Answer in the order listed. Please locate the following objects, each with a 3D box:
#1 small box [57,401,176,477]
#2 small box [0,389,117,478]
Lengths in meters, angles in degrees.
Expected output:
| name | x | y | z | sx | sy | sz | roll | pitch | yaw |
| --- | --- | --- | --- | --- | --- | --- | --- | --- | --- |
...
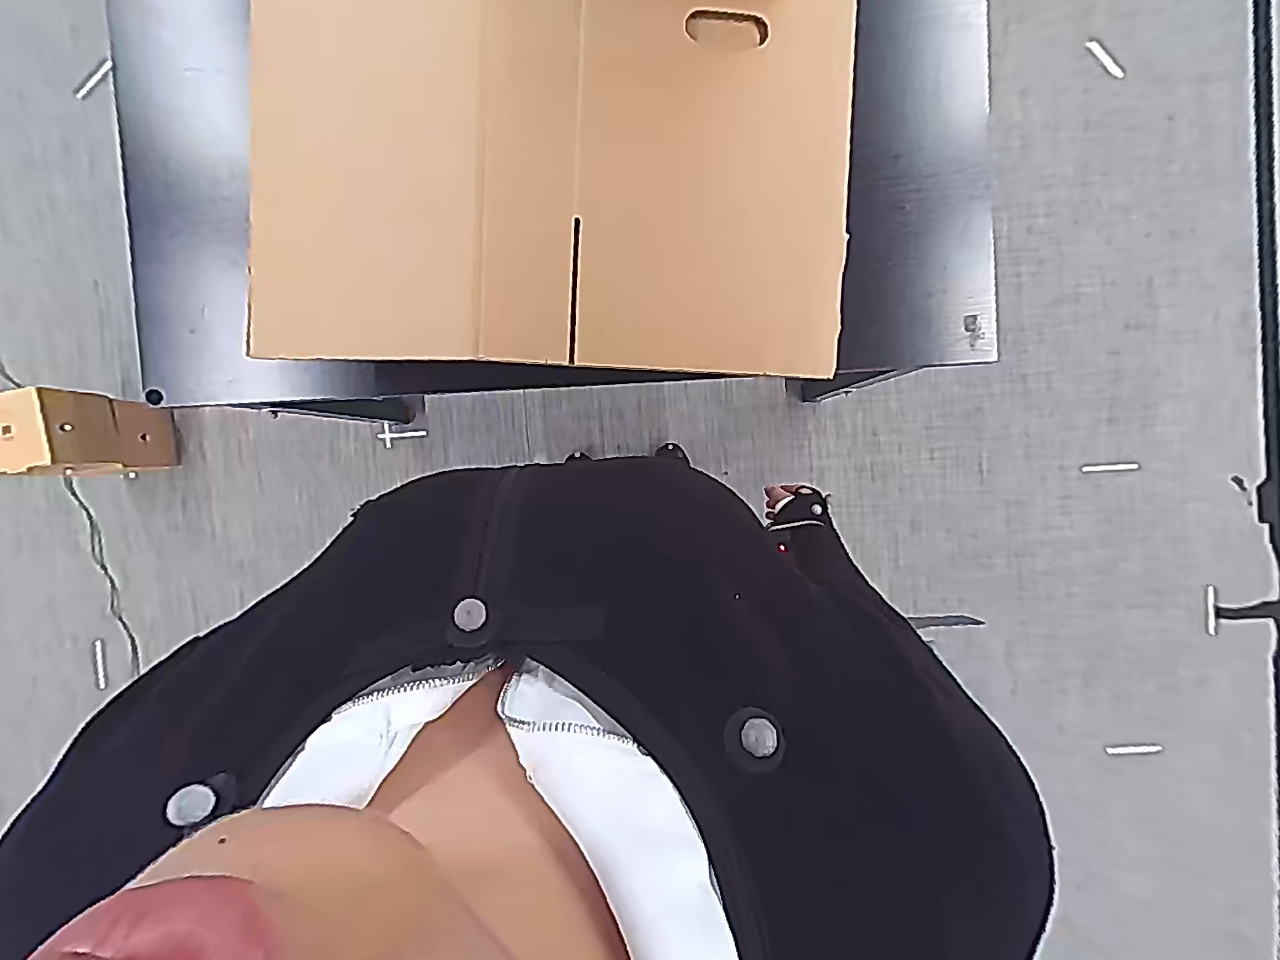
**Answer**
| name | x | y | z | sx | sy | sz | roll | pitch | yaw |
| --- | --- | --- | --- | --- | --- | --- | --- | --- | --- |
| small box | -1.372 | -0.104 | 1.414 | 0.168 | 0.176 | 0.179 | -7 | 93 | 1 |
| small box | -1.374 | -0.104 | 1.252 | 0.168 | 0.176 | 0.179 | -10 | 91 | 0 |
